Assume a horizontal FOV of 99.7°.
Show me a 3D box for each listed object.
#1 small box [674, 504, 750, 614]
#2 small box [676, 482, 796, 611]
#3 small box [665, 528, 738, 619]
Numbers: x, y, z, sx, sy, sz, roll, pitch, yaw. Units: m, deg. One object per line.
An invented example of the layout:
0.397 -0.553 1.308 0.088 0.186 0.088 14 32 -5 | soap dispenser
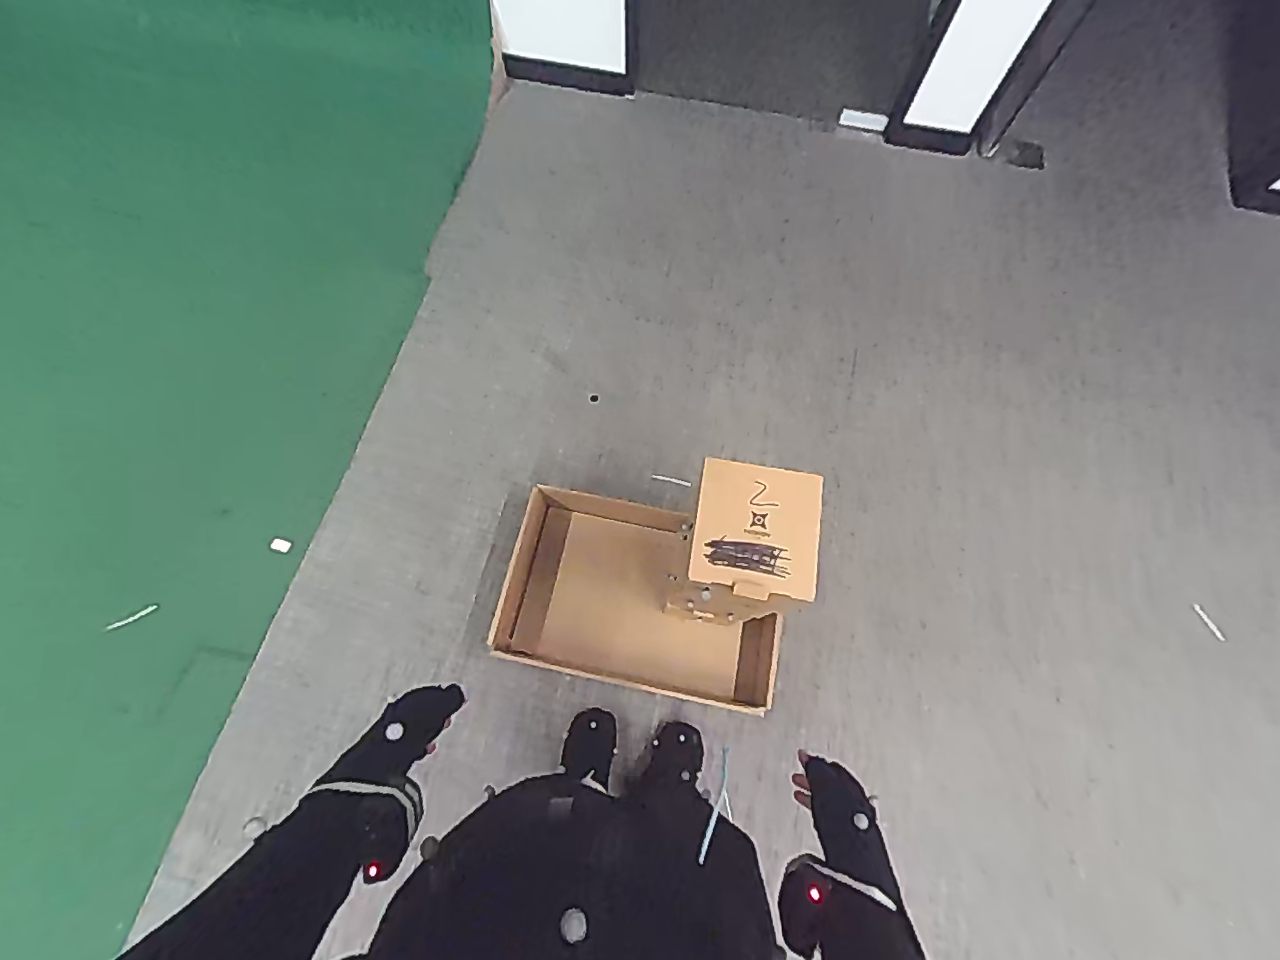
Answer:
0.164 0.166 1.094 0.168 0.176 0.179 11 71 4 | small box
0.161 0.125 0.953 0.168 0.176 0.179 12 71 4 | small box
0.150 0.225 1.266 0.168 0.176 0.179 7 70 4 | small box
